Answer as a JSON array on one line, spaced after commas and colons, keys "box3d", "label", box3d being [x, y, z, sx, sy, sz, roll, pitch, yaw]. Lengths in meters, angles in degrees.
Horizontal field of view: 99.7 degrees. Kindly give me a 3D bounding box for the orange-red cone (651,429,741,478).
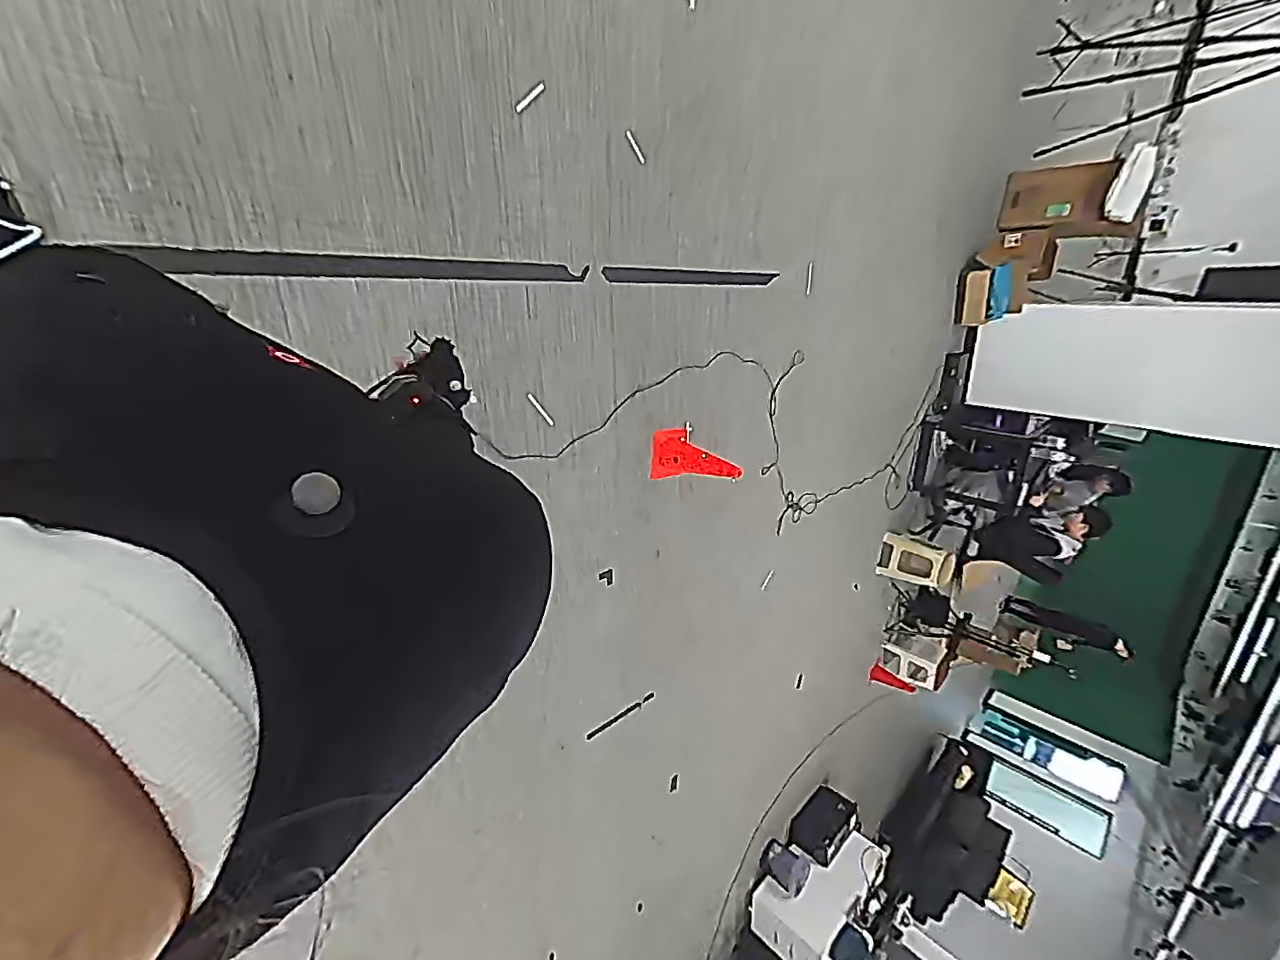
[{"box3d": [0.235, -0.070, 2.085, 0.199, 0.360, 0.198, -9, 109, -42], "label": "orange-red cone"}]
